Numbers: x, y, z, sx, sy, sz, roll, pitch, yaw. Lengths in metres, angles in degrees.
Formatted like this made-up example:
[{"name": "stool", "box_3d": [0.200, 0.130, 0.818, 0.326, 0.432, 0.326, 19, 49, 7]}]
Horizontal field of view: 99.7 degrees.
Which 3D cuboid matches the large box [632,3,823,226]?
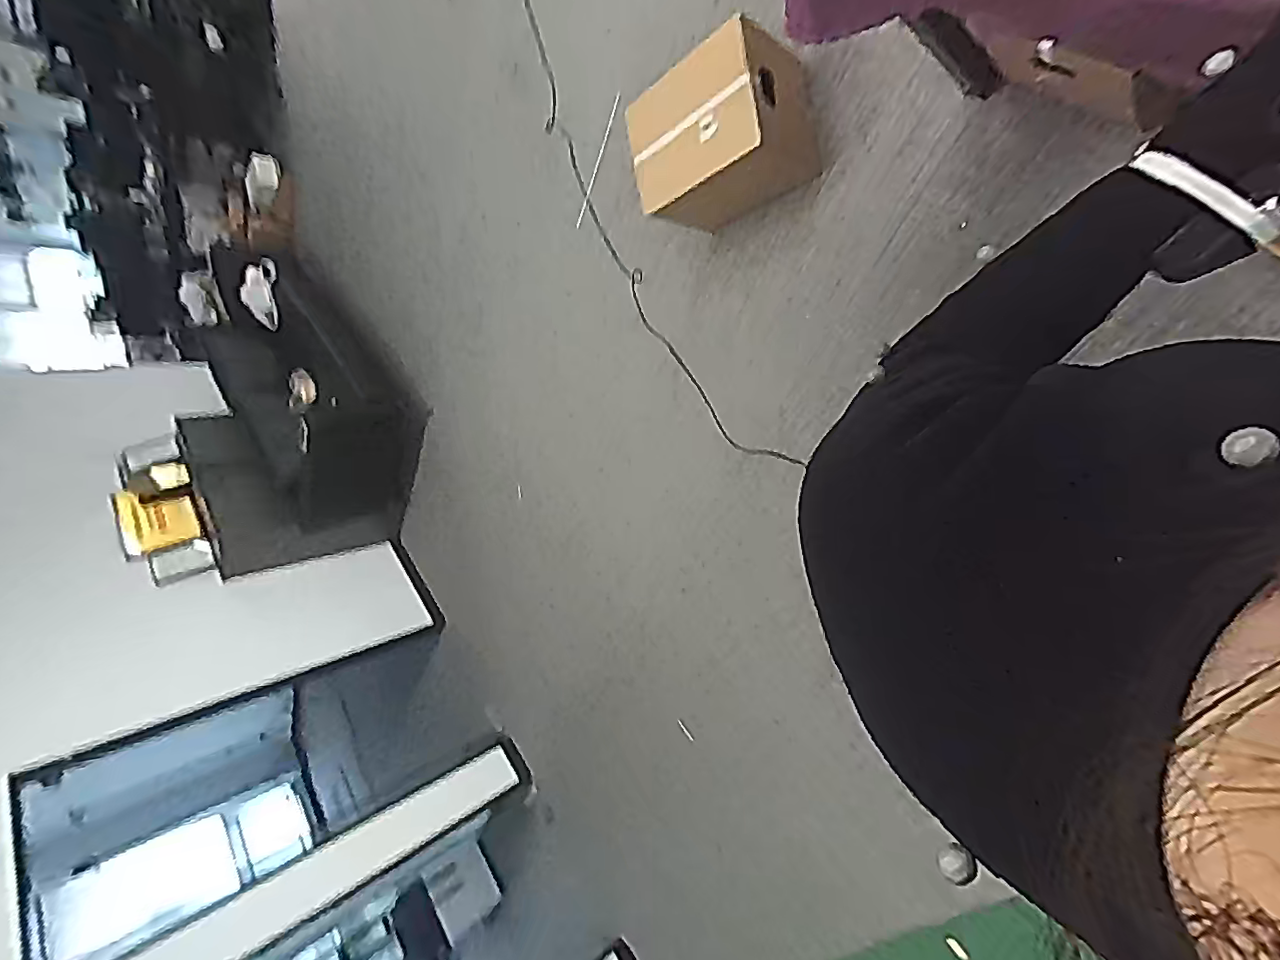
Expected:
[{"name": "large box", "box_3d": [0.241, -0.971, 1.514, 0.408, 0.320, 0.320, -7, 95, 45]}]
